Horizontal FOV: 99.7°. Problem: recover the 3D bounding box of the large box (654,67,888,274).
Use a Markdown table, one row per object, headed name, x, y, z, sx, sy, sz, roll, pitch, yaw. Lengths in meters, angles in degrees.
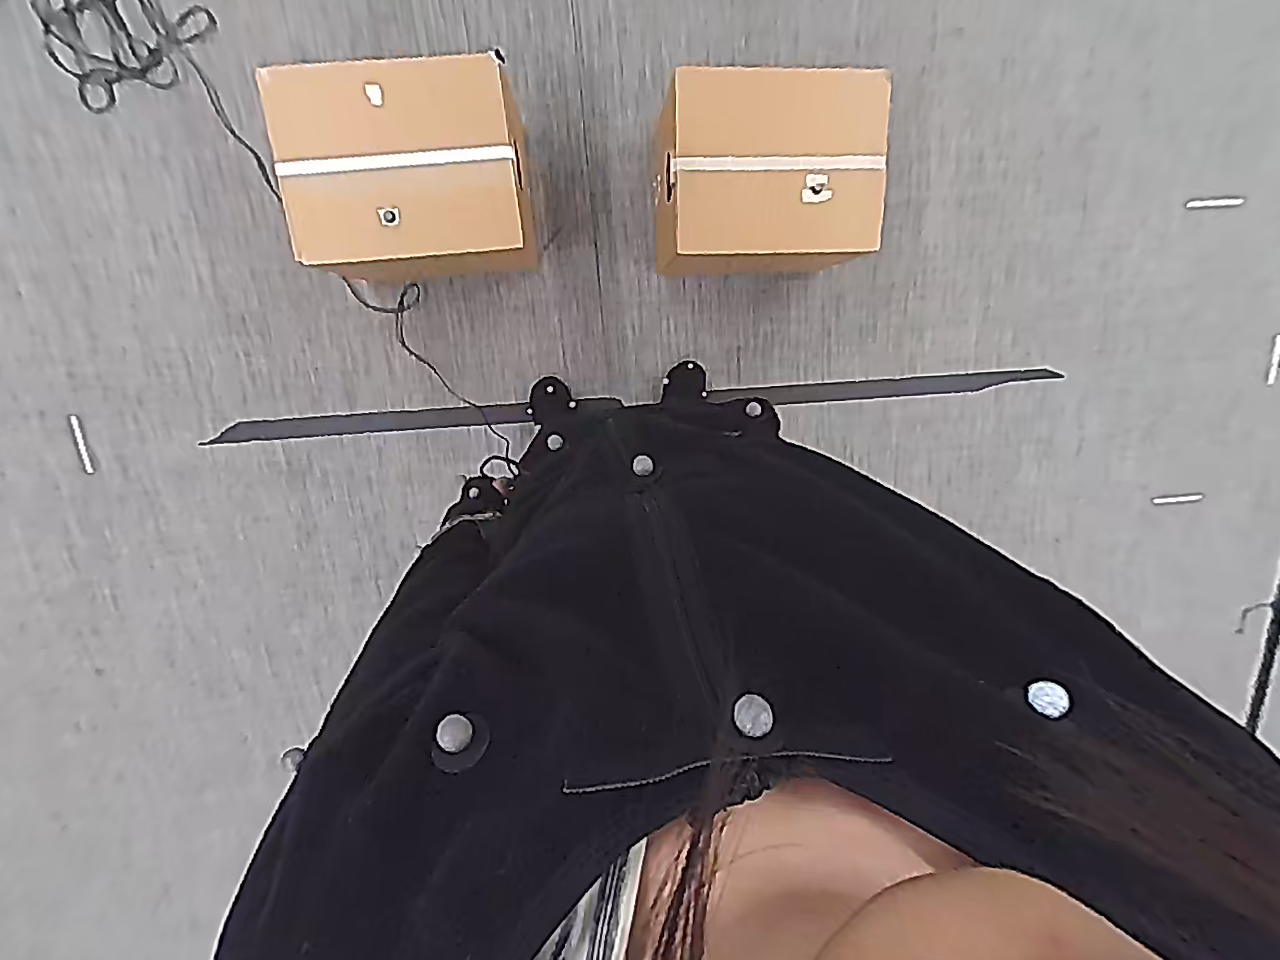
| name | x | y | z | sx | sy | sz | roll | pitch | yaw |
| --- | --- | --- | --- | --- | --- | --- | --- | --- | --- |
| large box | 0.251 | -0.631 | 1.158 | 0.408 | 0.320 | 0.320 | -3 | 104 | -6 |
